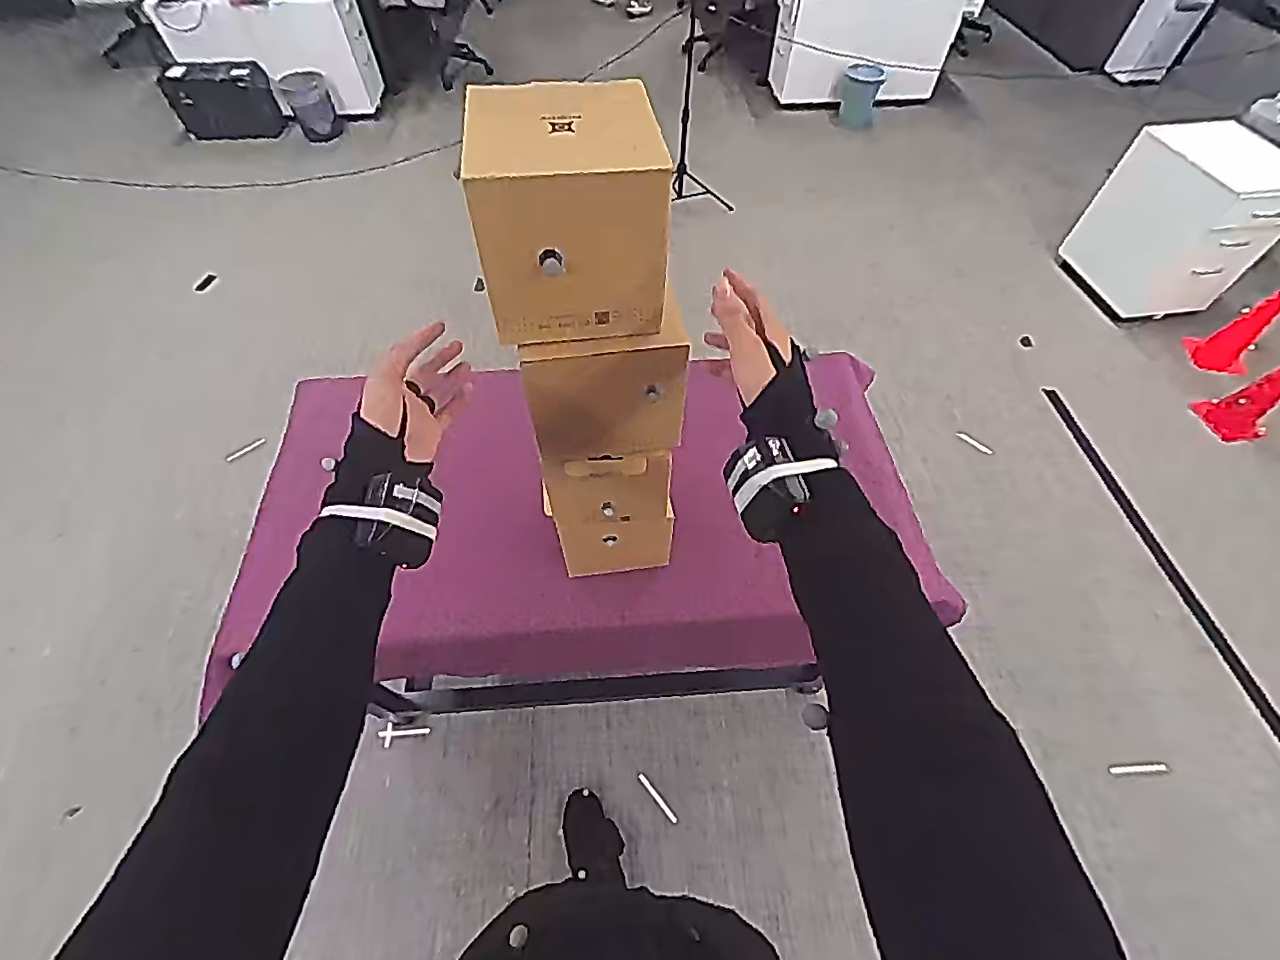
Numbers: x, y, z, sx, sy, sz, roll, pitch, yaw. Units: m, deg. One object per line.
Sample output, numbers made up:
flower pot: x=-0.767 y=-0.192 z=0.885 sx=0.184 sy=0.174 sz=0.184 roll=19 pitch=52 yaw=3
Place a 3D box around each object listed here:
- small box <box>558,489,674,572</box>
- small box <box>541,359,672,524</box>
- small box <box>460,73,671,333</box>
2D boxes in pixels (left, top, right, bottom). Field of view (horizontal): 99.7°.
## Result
small box: x=-0.044 y=0.043 z=0.913 sx=0.179 sy=0.176 sz=0.168 roll=-6 pitch=56 yaw=-5
small box: x=-0.044 y=-0.053 z=0.779 sx=0.168 sy=0.176 sz=0.179 roll=-2 pitch=56 yaw=-1
small box: x=-0.067 y=-0.257 z=0.521 sx=0.168 sy=0.176 sz=0.179 roll=-7 pitch=55 yaw=-6
